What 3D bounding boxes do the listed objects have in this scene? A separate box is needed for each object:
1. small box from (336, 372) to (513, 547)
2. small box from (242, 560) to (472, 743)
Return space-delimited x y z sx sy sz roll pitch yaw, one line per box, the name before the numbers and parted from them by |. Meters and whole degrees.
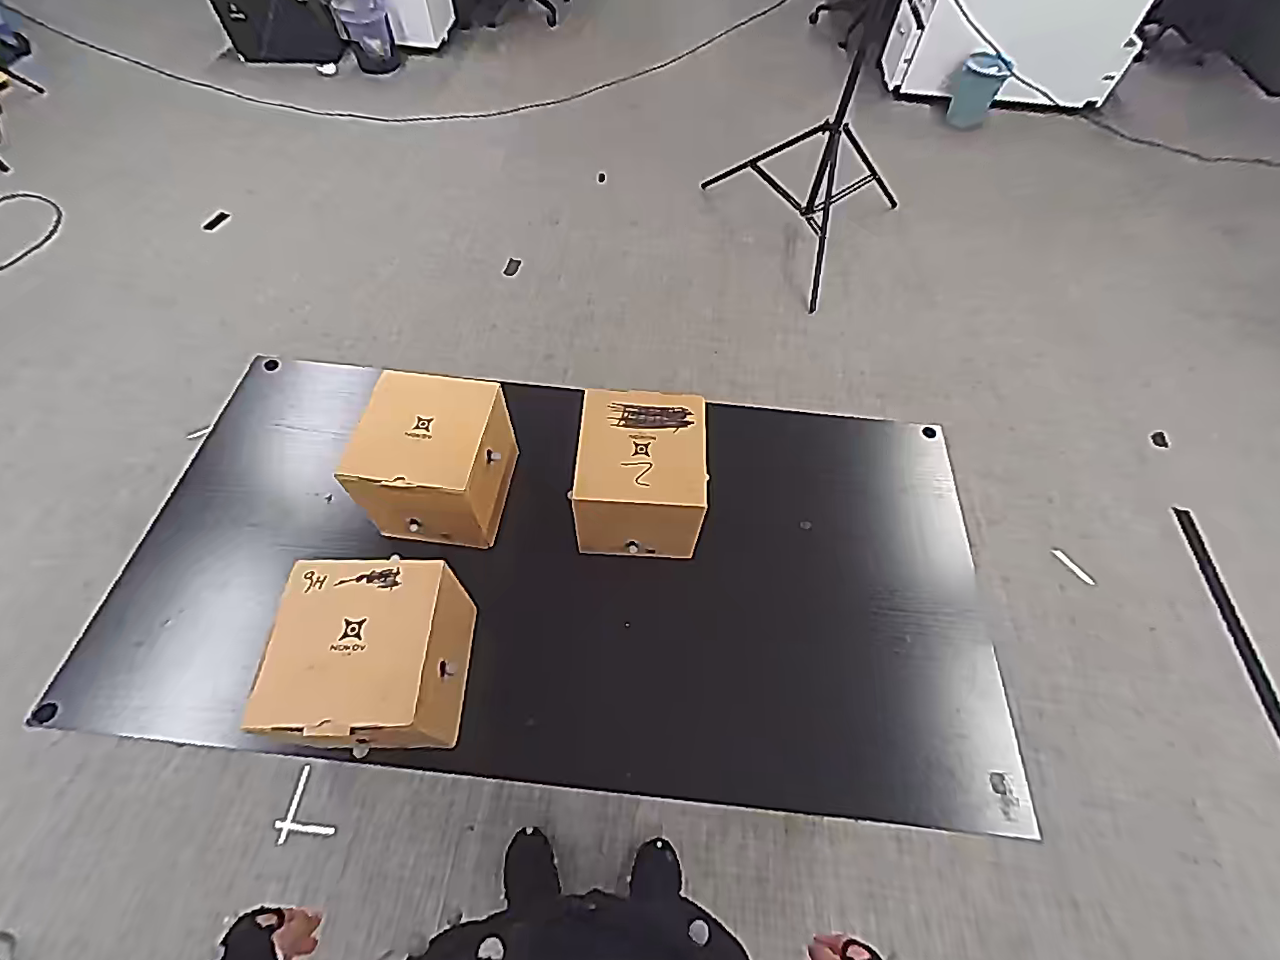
small box | -0.287 -0.025 0.772 0.168 0.176 0.179 7 59 2
small box | -0.304 0.205 0.629 0.168 0.176 0.179 0 59 -2
